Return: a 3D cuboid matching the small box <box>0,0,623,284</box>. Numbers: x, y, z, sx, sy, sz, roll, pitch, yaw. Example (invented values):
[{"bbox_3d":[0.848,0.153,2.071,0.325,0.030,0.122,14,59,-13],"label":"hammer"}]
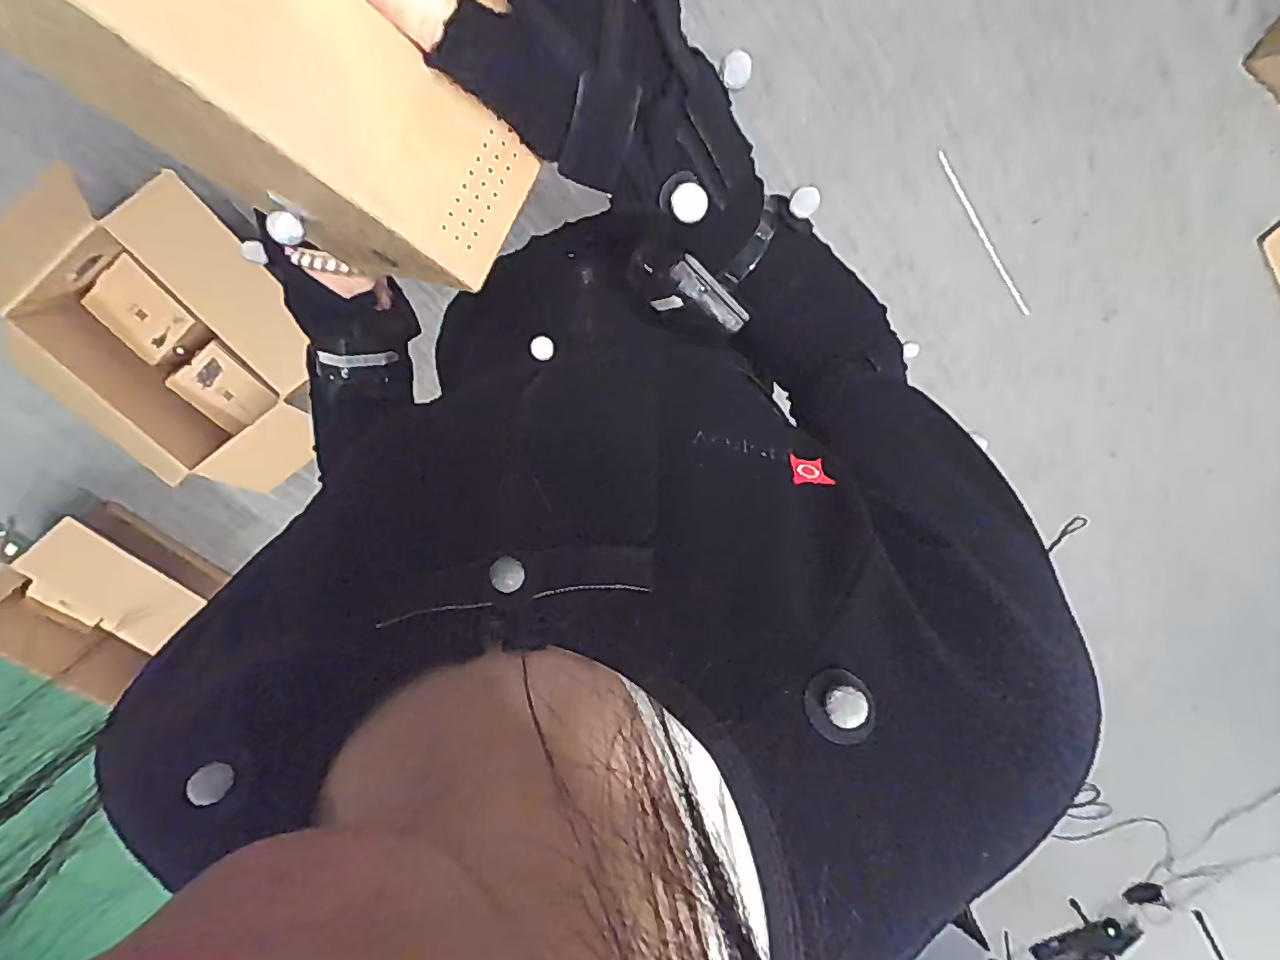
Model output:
[{"bbox_3d":[-0.132,-0.214,0.229,0.176,0.168,0.179,26,89,-51],"label":"small box"}]
